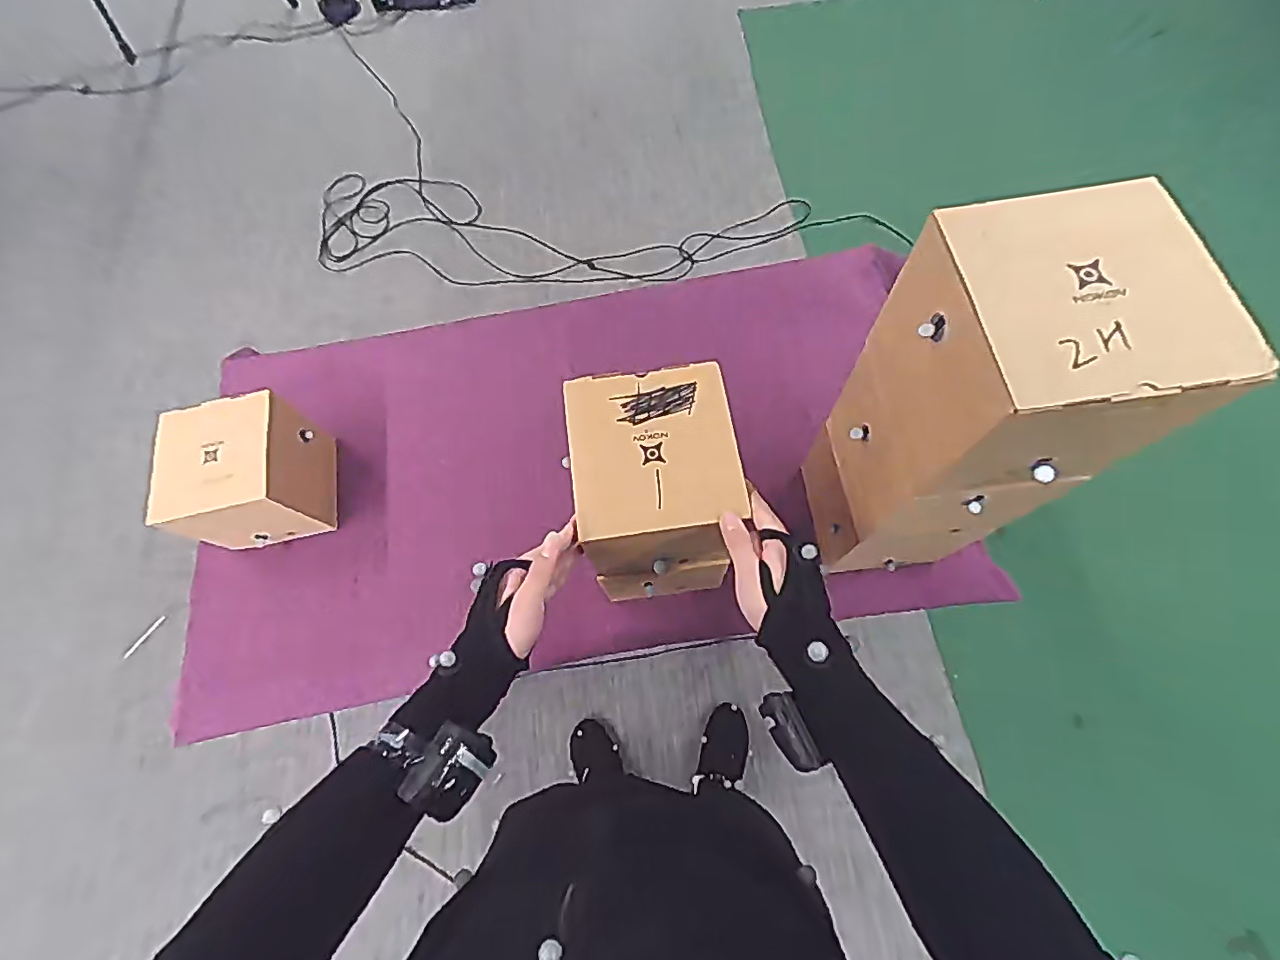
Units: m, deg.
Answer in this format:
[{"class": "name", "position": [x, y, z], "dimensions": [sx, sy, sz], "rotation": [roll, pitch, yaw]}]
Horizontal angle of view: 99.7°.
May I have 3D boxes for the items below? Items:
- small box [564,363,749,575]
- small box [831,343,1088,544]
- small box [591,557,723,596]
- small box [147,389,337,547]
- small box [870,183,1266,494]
[{"class": "small box", "position": [0.013, -0.004, 0.606], "dimensions": [0.168, 0.176, 0.179], "rotation": [-8, 69, -1]}, {"class": "small box", "position": [0.326, -0.041, 0.599], "dimensions": [0.168, 0.176, 0.179], "rotation": [-7, 68, 3]}, {"class": "small box", "position": [0.021, 0.062, 0.762], "dimensions": [0.168, 0.176, 0.179], "rotation": [-8, 67, 2]}, {"class": "small box", "position": [-0.594, -0.011, 0.831], "dimensions": [0.168, 0.176, 0.179], "rotation": [-12, 70, 0]}, {"class": "small box", "position": [0.312, -0.104, 0.448], "dimensions": [0.168, 0.176, 0.179], "rotation": [-7, 69, 3]}]
